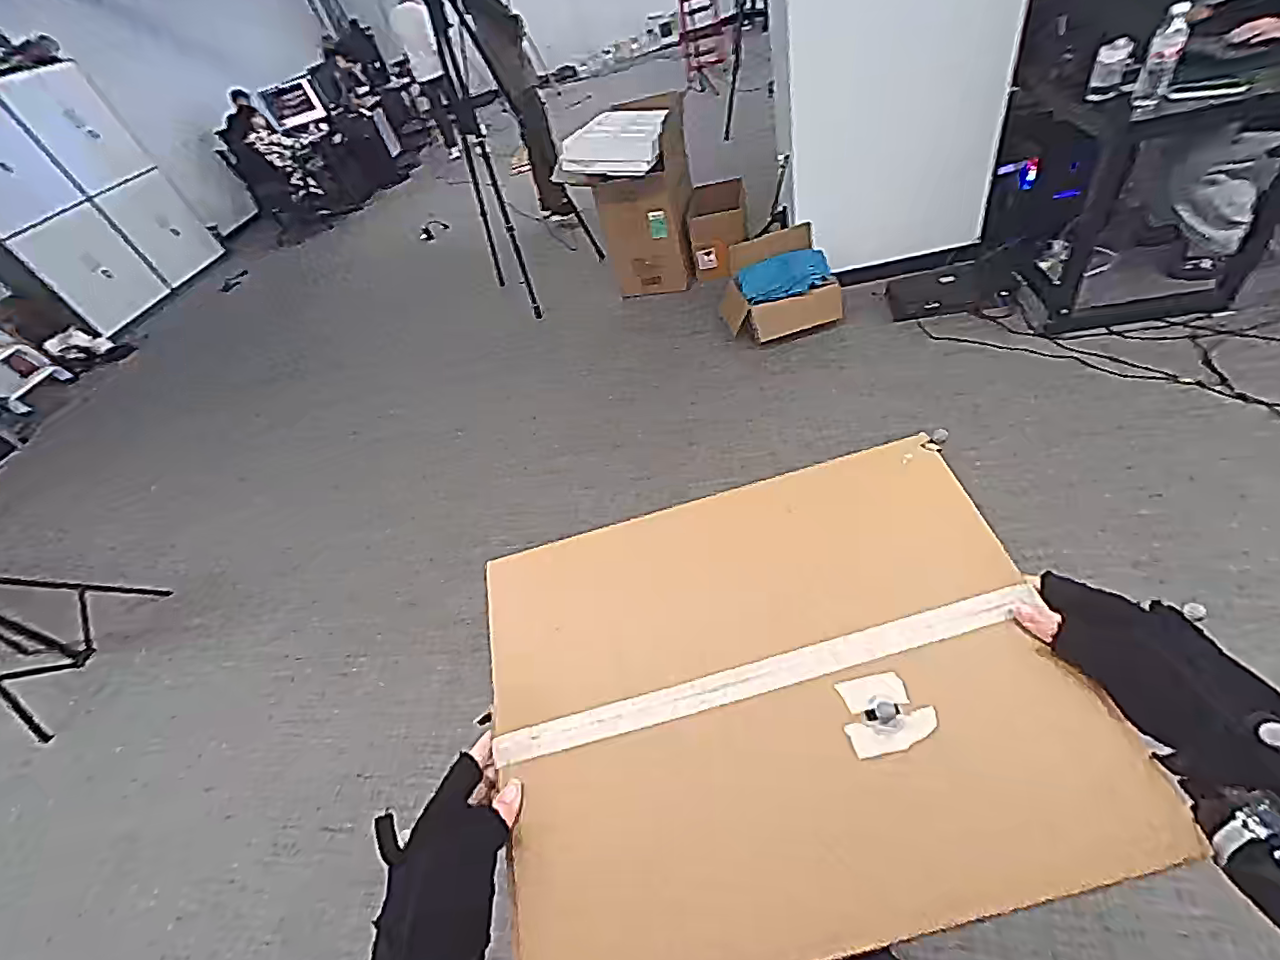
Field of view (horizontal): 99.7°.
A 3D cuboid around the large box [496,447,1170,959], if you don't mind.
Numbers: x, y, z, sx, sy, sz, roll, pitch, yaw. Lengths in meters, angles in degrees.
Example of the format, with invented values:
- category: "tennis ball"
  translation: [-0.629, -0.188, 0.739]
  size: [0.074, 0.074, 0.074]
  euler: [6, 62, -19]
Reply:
- category: "large box"
  translation: [0.118, 0.229, 0.528]
  size: [0.408, 0.320, 0.320]
  euler: [-17, 56, 1]
